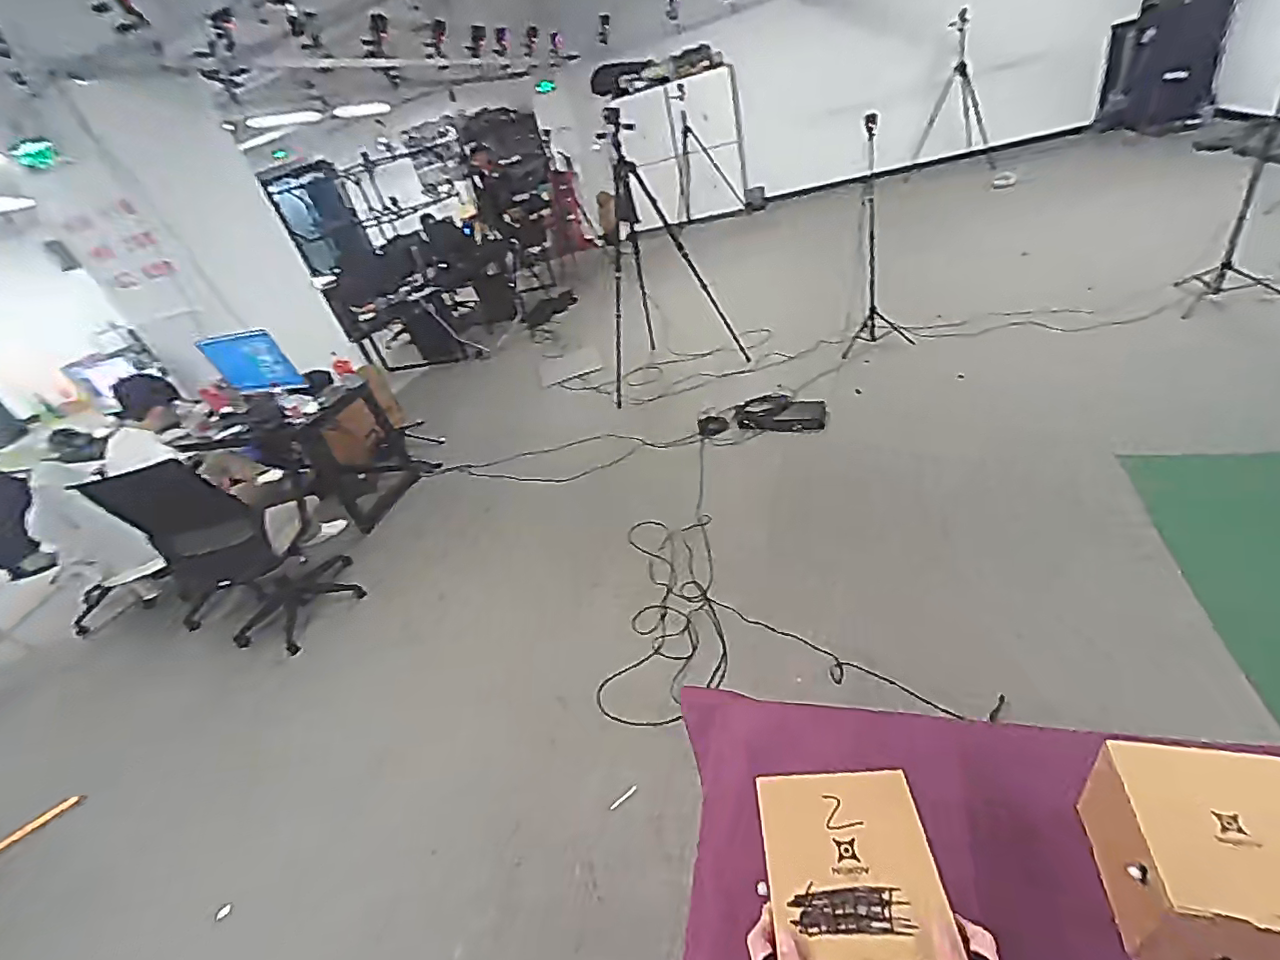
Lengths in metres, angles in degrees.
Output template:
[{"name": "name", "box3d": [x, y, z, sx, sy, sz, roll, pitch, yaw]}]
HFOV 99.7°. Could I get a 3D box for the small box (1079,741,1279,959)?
[{"name": "small box", "box3d": [0.639, 0.434, 0.615, 0.168, 0.176, 0.179, -2, 38, 20]}]
